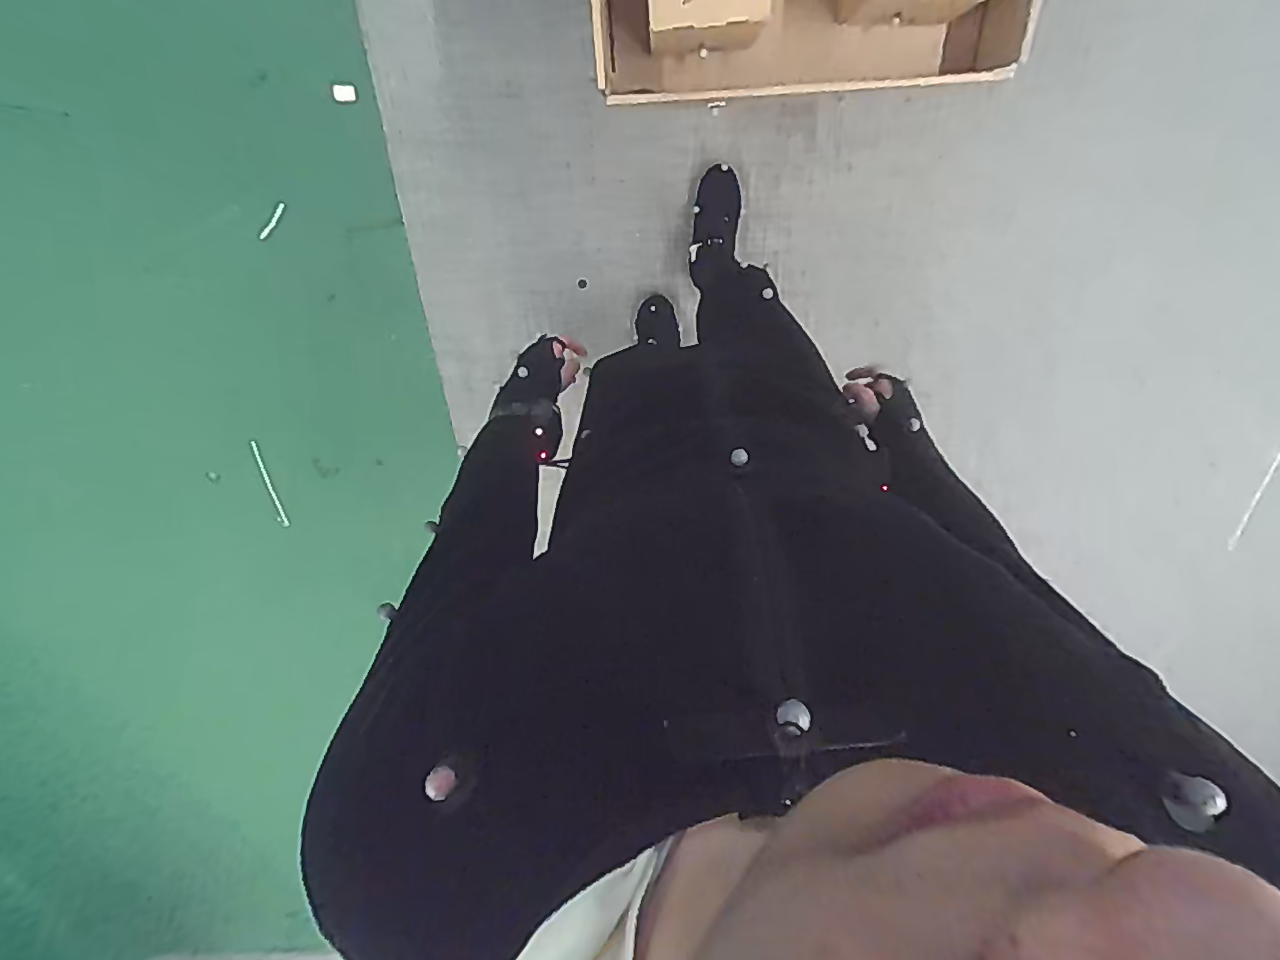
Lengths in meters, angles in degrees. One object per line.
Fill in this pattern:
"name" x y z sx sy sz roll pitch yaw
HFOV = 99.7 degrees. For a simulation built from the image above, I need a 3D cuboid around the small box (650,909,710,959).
"small box" 0.116 1.354 1.531 0.168 0.176 0.179 -5 117 3
